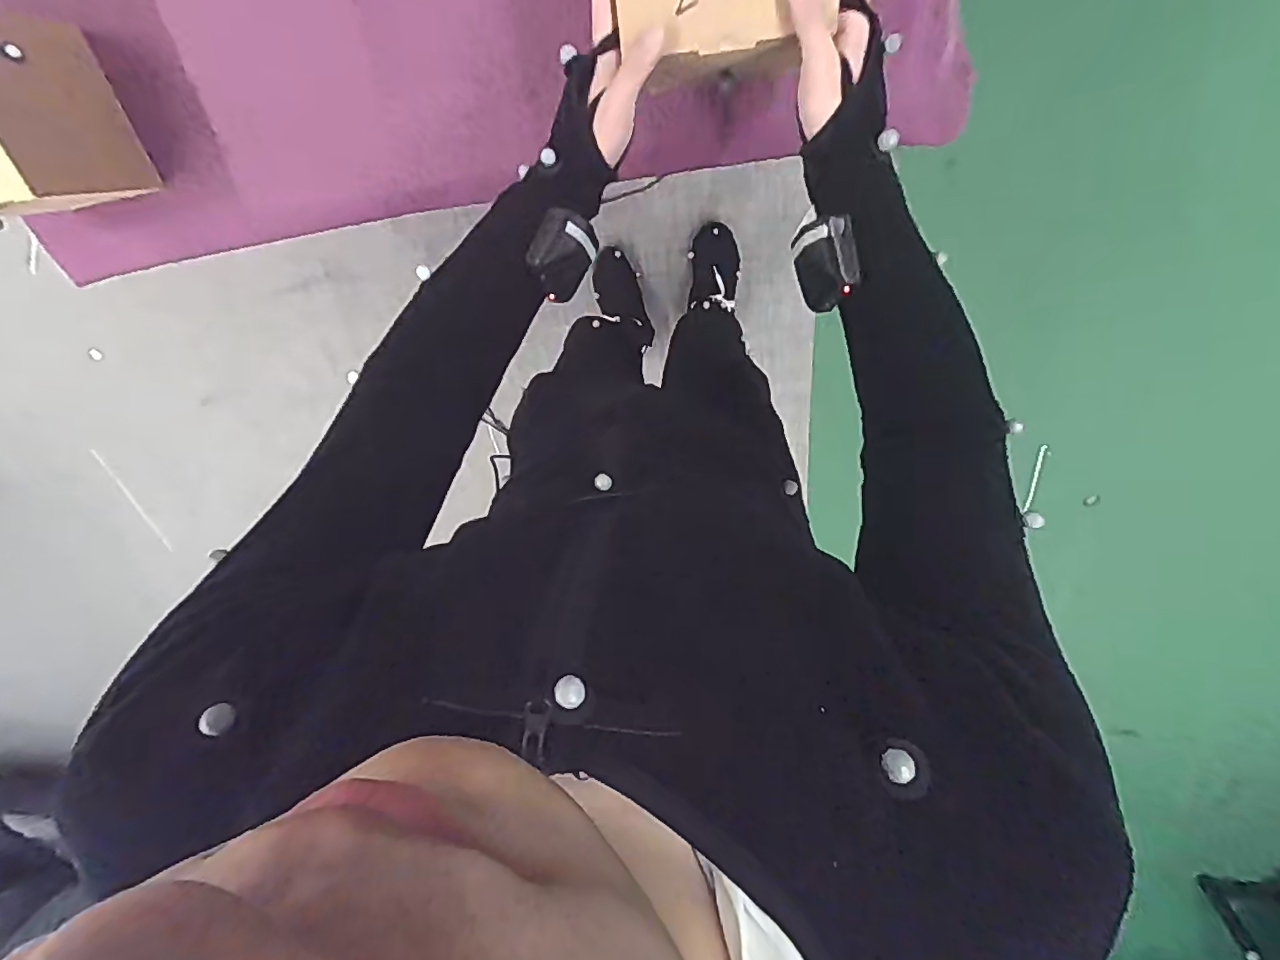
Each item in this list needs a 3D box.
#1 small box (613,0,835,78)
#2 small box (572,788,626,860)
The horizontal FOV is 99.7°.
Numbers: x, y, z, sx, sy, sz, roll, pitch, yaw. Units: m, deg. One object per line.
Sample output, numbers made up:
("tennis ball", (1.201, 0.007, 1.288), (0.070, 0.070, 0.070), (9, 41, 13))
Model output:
("small box", (0.067, -0.451, 0.435), (0.168, 0.176, 0.179), (0, 120, 12))
("small box", (-0.151, 1.319, 2.073), (0.168, 0.176, 0.179), (-1, 122, 9))
